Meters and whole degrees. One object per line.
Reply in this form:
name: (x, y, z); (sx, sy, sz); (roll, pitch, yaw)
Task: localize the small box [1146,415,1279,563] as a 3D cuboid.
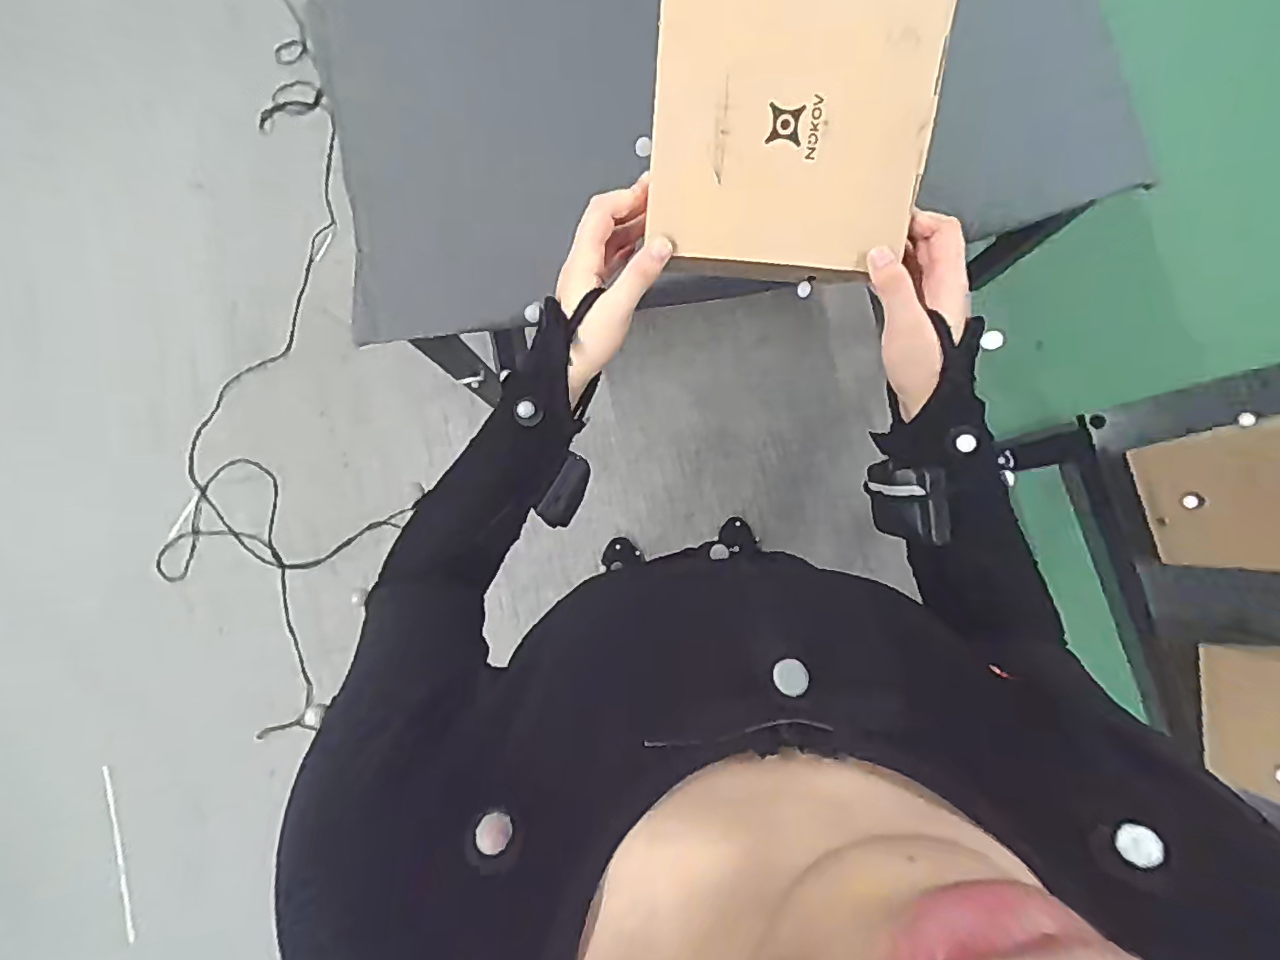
small box: (0.797, 0.007, 0.679); (0.179, 0.176, 0.168); (-14, 85, 0)

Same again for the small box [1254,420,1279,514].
small box: (0.777, 0.001, 0.517); (0.168, 0.176, 0.179); (-14, 84, 1)

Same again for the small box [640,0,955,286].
small box: (0.095, -0.242, 0.412); (0.179, 0.176, 0.168); (4, 107, 2)
